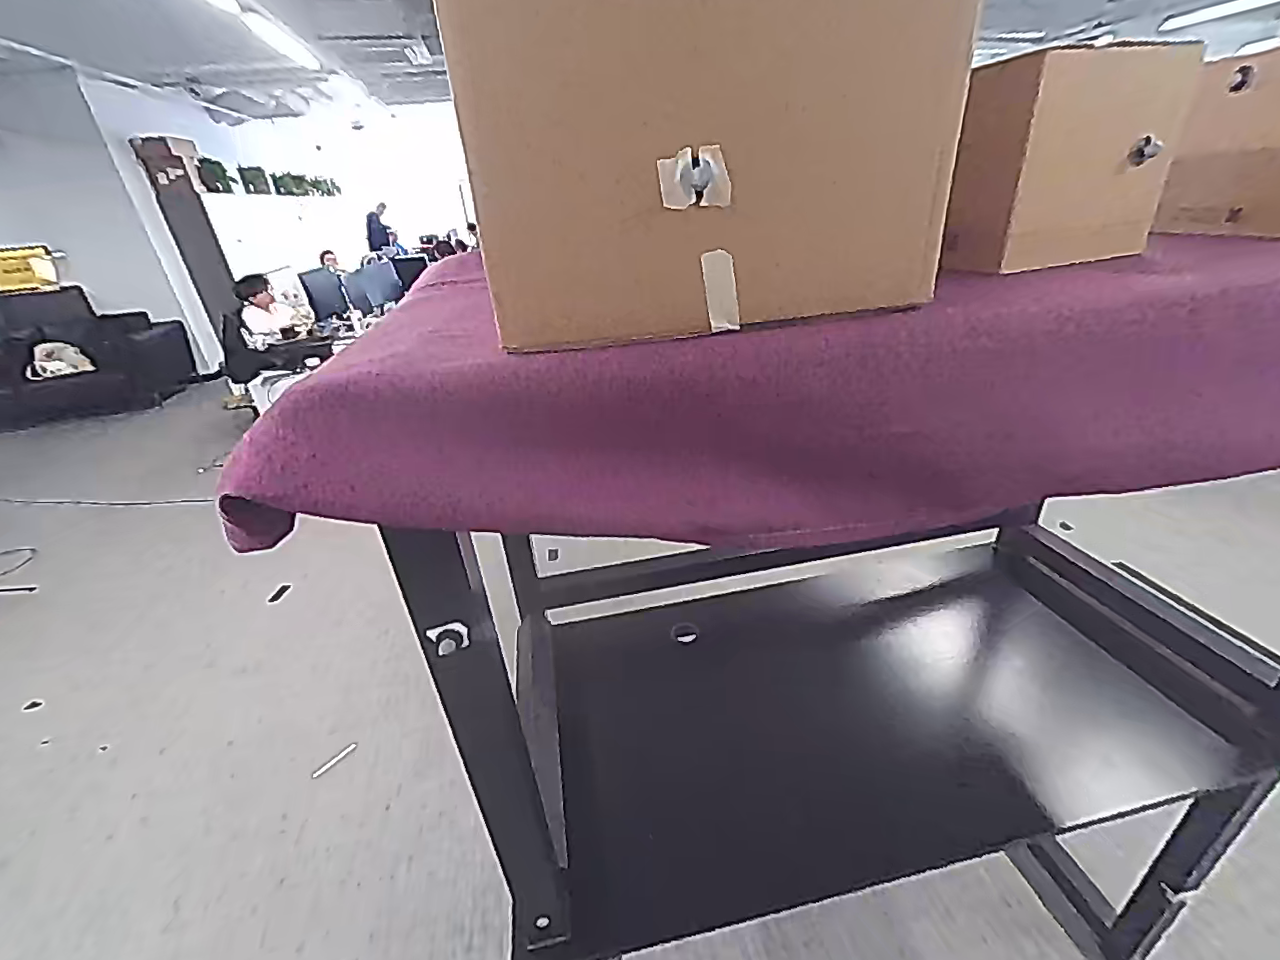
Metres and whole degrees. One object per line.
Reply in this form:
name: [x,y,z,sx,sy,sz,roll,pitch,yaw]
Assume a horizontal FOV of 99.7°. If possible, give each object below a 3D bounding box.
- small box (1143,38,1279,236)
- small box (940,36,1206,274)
small box: [0.690,-0.356,0.560,0.179,0.176,0.168,-9,27,-8]
small box: [0.371,-0.309,0.533,0.179,0.176,0.168,-13,28,-12]
